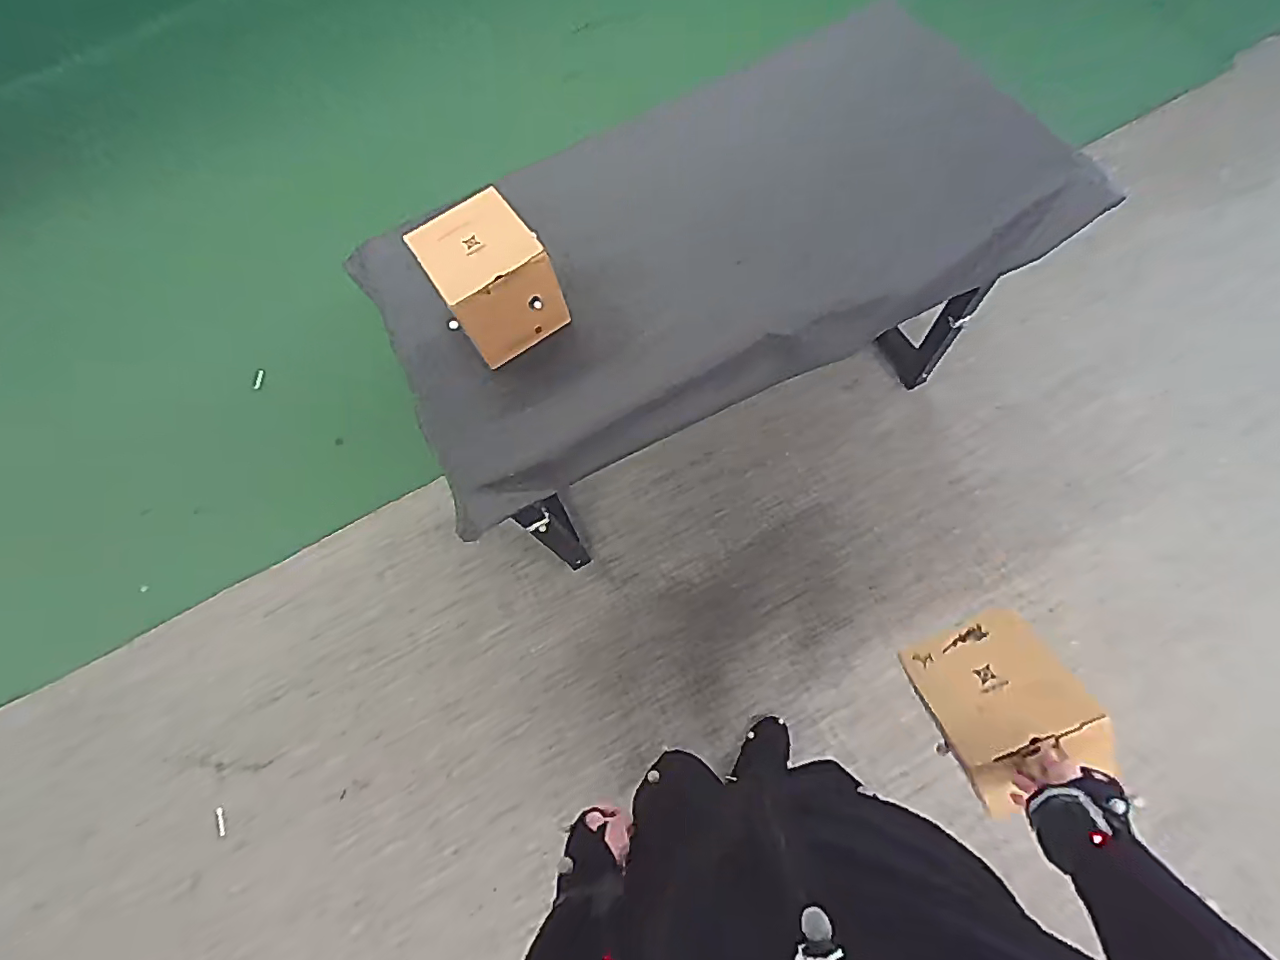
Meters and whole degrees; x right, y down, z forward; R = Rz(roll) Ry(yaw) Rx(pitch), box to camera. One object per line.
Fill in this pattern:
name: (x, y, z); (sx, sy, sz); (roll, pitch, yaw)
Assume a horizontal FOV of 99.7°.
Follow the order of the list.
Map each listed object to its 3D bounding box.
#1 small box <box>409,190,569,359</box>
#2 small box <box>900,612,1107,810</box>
small box: (-0.239, -0.326, 0.896); (0.168, 0.176, 0.179); (-34, 68, -8)
small box: (0.497, 0.323, 0.746); (0.168, 0.176, 0.179); (-28, 31, 12)
